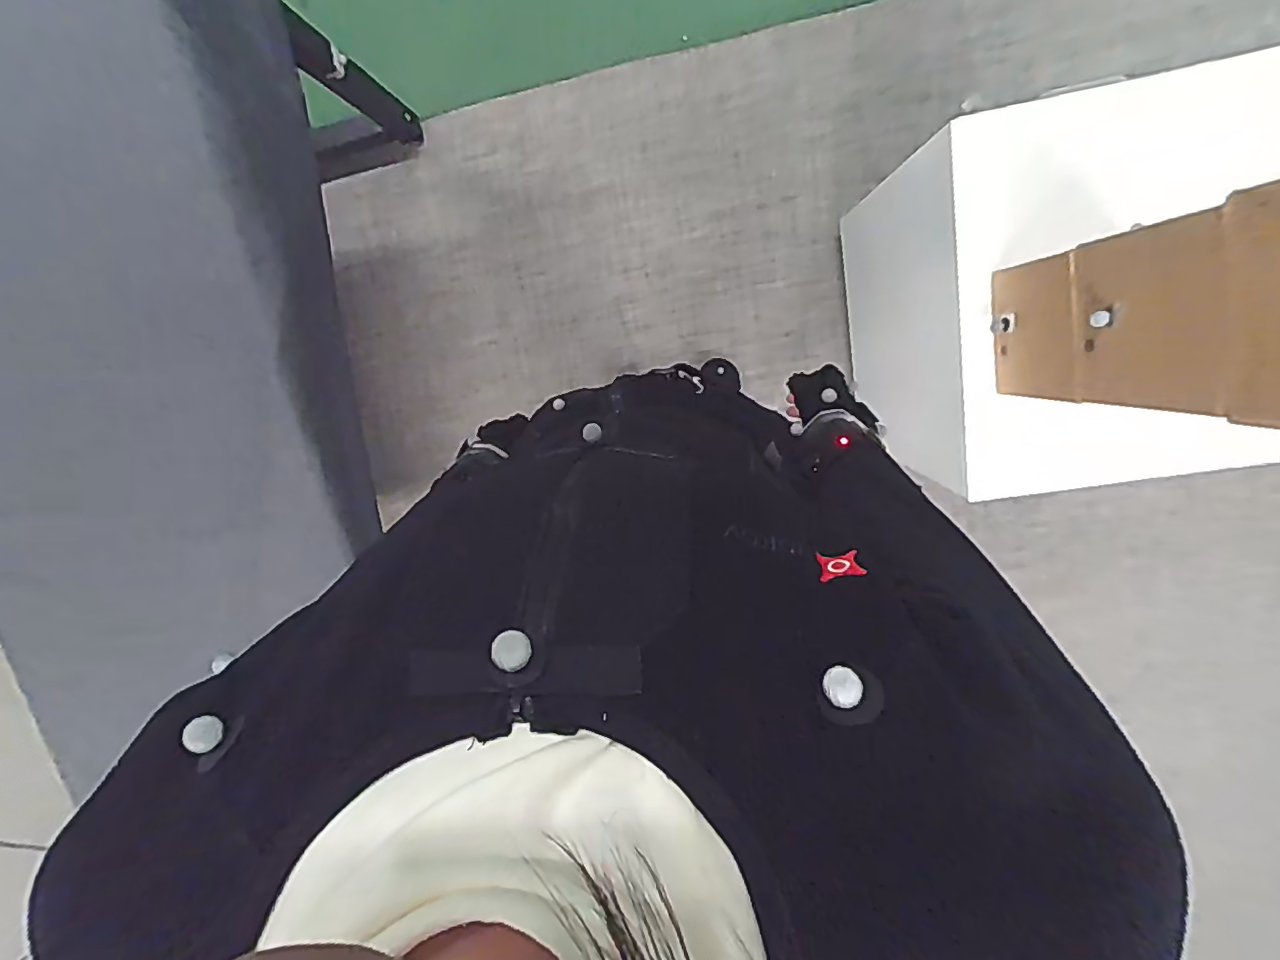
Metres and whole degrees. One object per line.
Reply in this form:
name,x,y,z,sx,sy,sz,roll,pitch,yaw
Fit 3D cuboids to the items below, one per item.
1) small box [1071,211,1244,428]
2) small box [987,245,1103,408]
small box,0.532,-0.152,0.477,0.179,0.176,0.168,-12,101,7
small box,0.547,-0.188,0.636,0.179,0.176,0.168,-10,101,10
